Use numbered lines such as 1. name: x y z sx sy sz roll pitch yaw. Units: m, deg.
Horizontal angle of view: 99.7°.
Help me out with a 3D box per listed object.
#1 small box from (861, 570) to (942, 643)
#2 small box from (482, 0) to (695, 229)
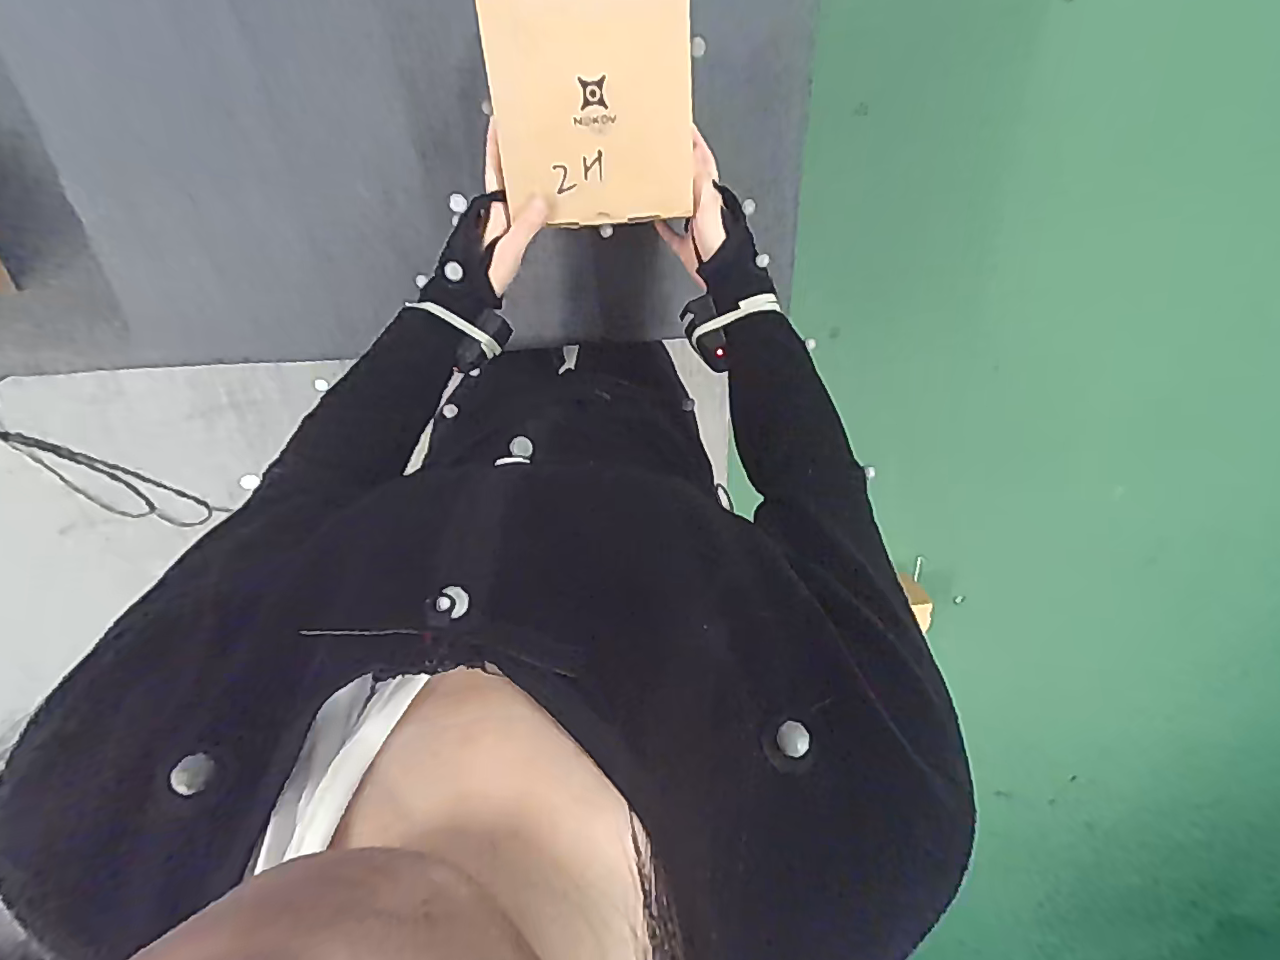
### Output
1. small box: 0.852 0.413 1.782 0.179 0.176 0.168 -4 117 -2
2. small box: -0.039 -0.345 0.522 0.168 0.176 0.179 -5 117 1
